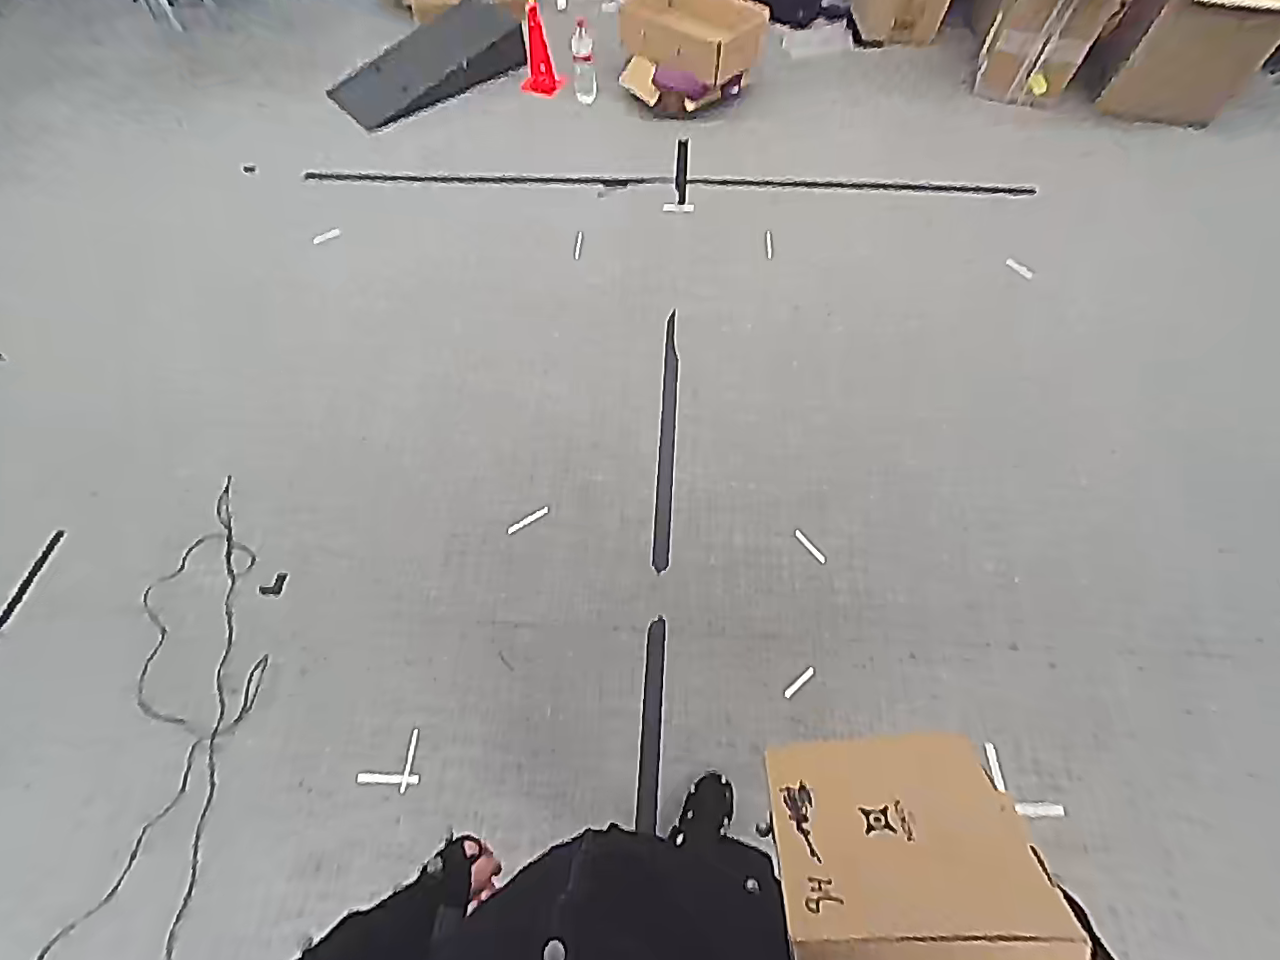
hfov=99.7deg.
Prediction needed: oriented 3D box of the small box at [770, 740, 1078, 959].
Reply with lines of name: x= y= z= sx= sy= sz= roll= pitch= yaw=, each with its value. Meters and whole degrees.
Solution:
small box: x=0.212 y=0.347 z=0.446 sx=0.179 sy=0.168 sz=0.176 roll=-9 pitch=105 yaw=9
